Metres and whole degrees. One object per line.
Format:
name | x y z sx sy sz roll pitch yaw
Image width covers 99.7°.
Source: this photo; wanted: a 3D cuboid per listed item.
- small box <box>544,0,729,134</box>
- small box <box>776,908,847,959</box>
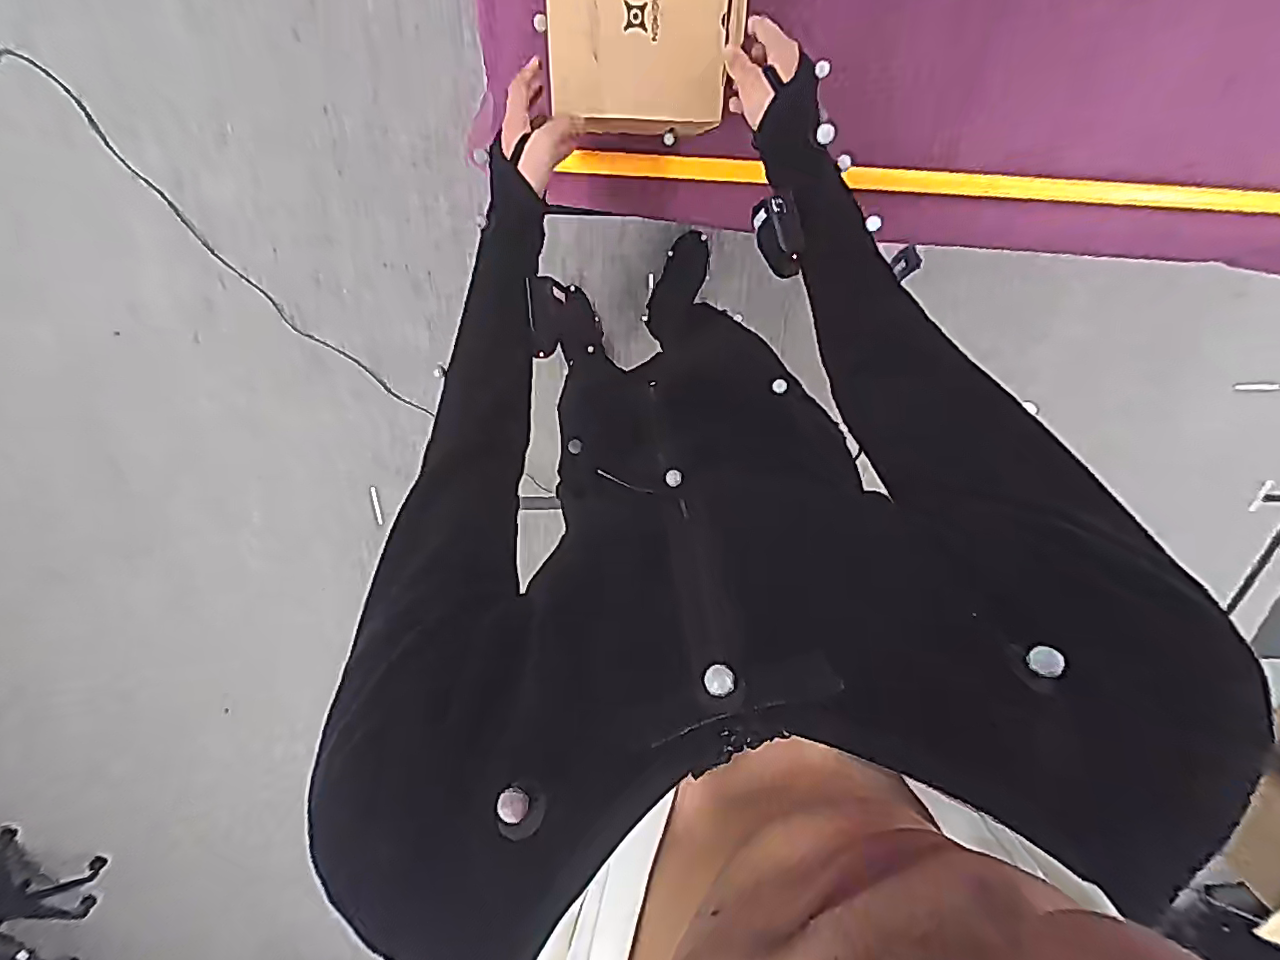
small box | -0.011 -0.475 0.577 0.179 0.176 0.168 -2 118 -6
small box | 0.622 1.711 1.989 0.168 0.176 0.179 14 118 -12
